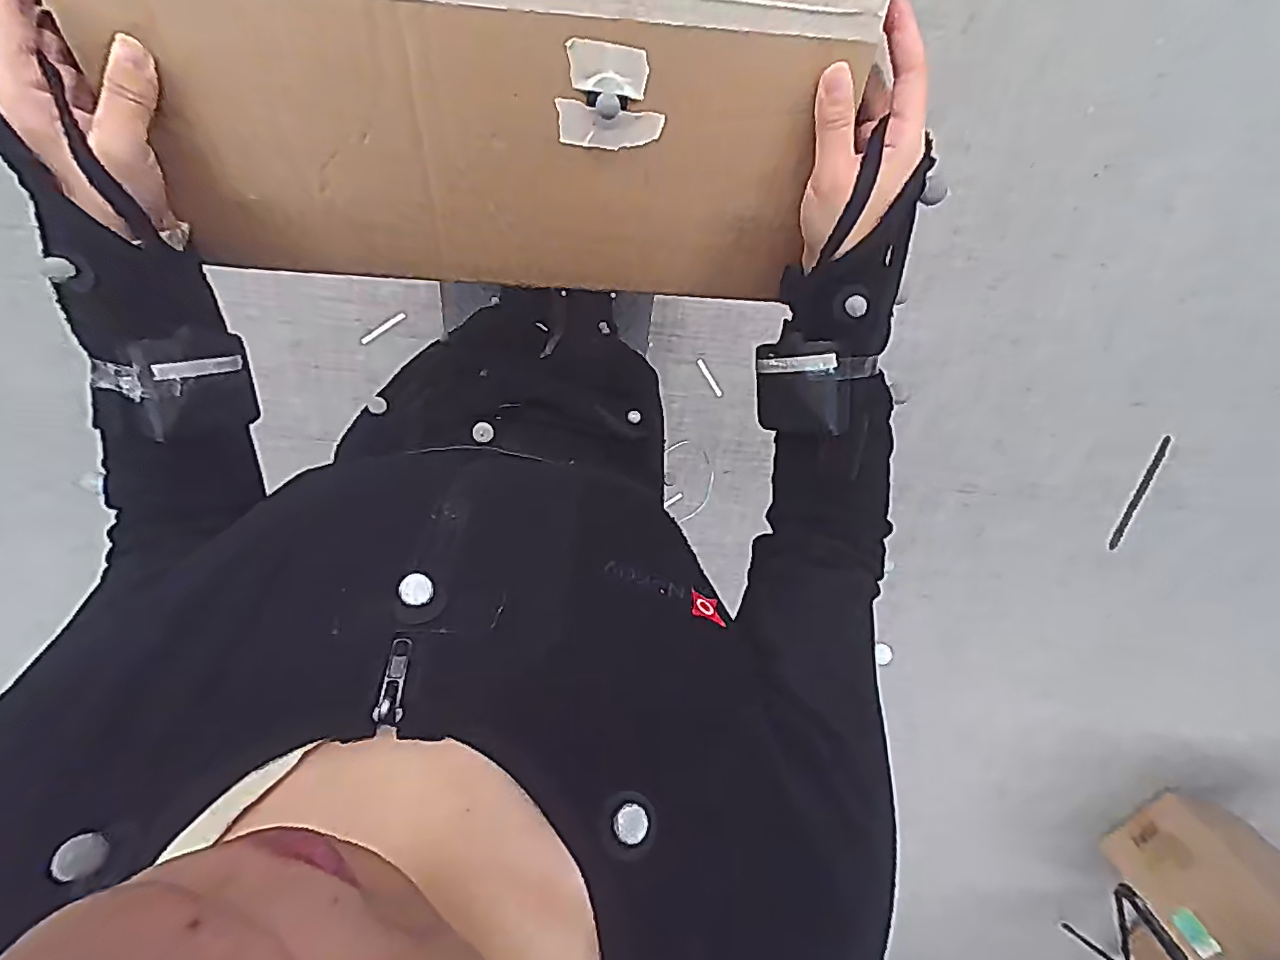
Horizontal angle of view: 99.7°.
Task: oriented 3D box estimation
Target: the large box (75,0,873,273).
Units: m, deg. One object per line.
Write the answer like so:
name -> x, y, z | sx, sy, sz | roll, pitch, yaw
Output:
large box -> -0.083, -0.362, 0.361 | 0.408, 0.320, 0.320 | 1, 138, -5
